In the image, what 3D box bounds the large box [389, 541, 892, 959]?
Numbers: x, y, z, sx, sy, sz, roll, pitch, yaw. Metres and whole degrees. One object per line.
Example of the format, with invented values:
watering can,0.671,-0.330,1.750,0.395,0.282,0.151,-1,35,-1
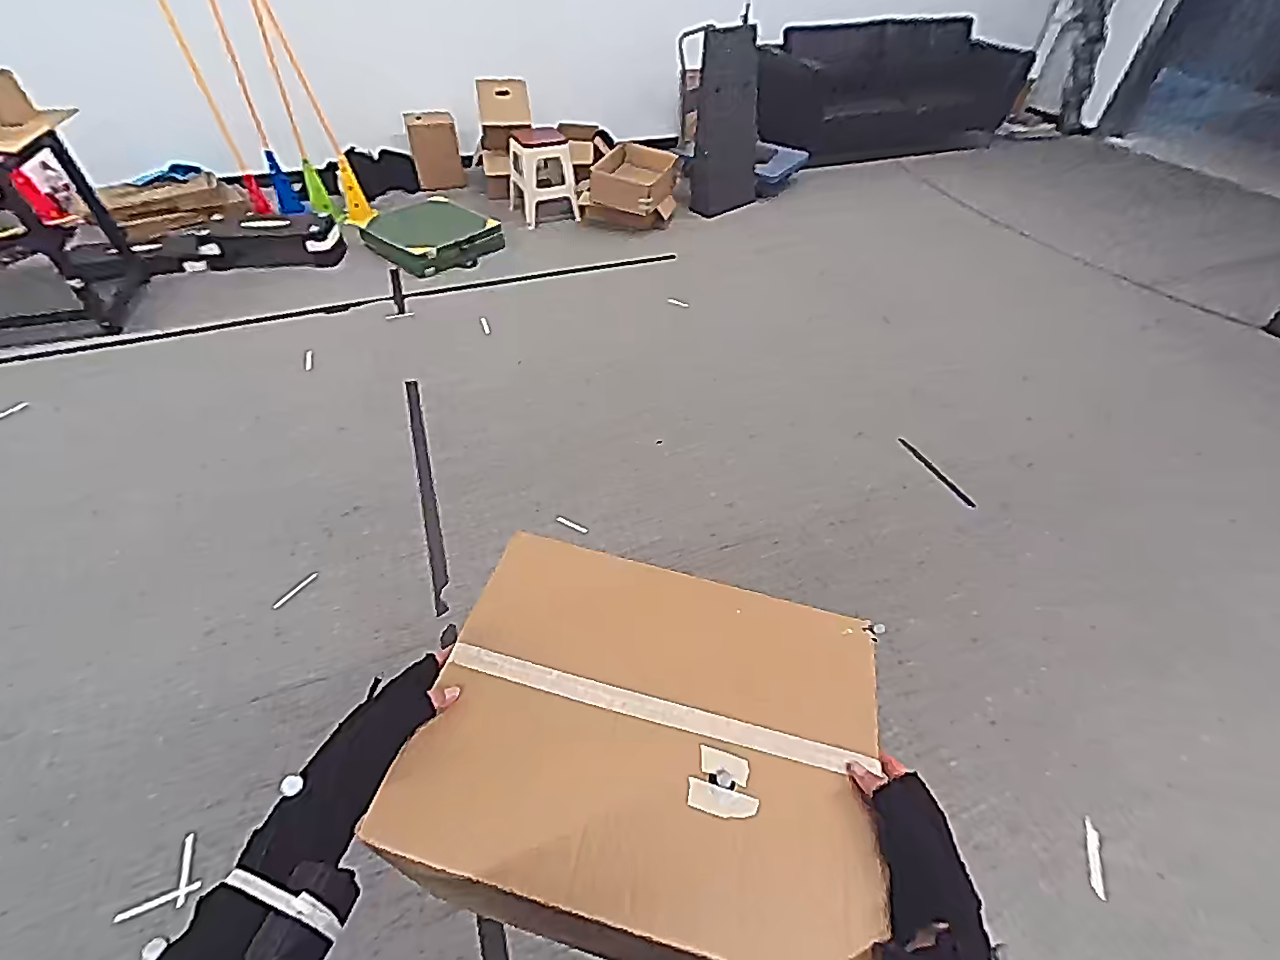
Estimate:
large box,0.011,0.323,0.613,0.408,0.320,0.320,15,47,6
